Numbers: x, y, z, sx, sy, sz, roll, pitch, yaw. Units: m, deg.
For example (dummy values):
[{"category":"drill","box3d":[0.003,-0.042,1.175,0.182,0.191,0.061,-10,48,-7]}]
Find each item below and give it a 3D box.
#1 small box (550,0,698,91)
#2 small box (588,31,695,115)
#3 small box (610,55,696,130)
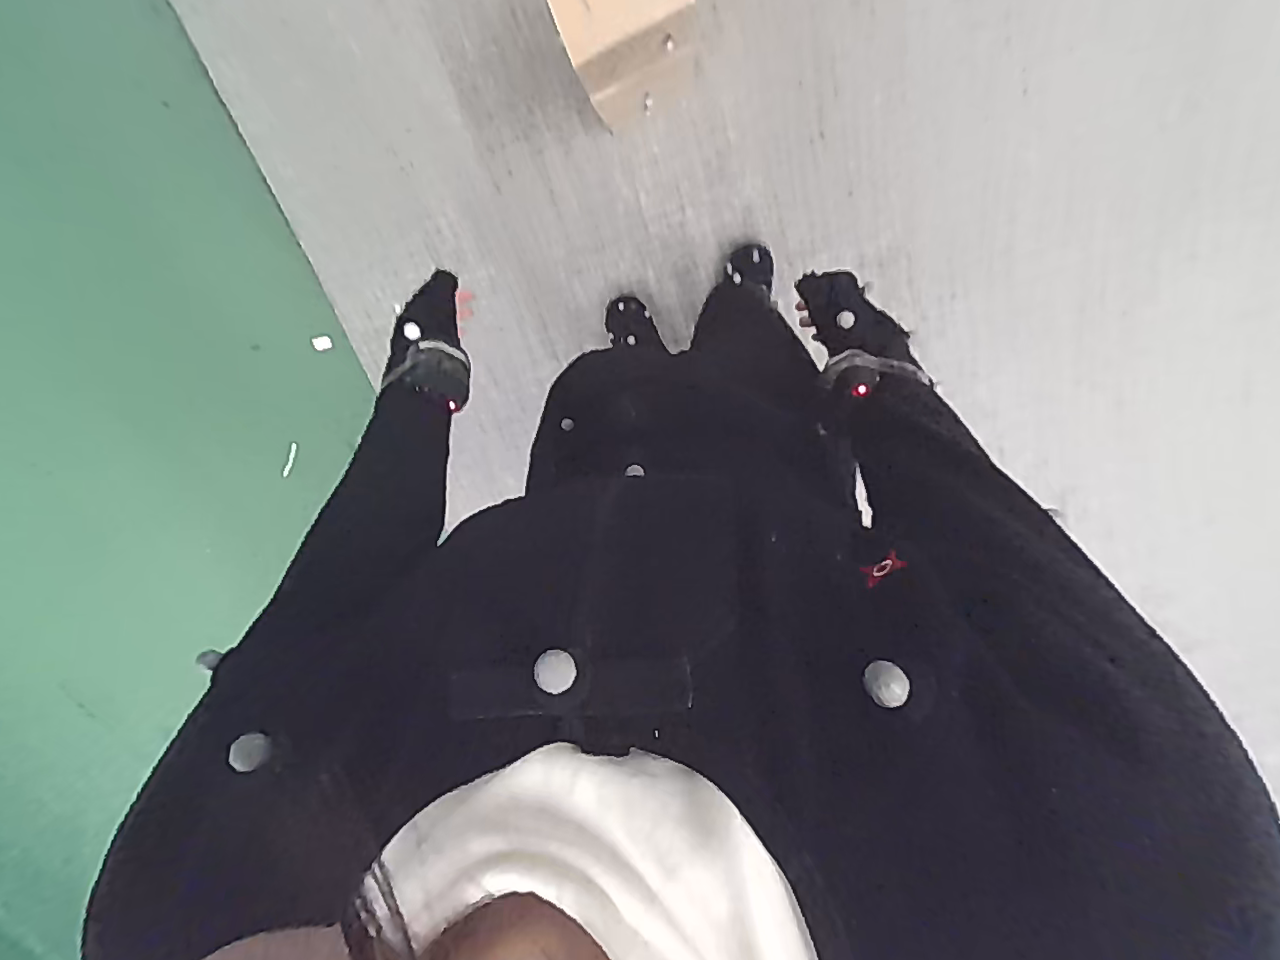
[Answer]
[{"category":"small box","box3d":[-0.031,-0.675,0.737,0.179,0.176,0.168,-20,110,14]},{"category":"small box","box3d":[-0.020,-0.737,0.887,0.179,0.176,0.168,-20,111,13]},{"category":"small box","box3d":[-0.008,-0.809,1.033,0.179,0.176,0.168,-24,110,14]}]
